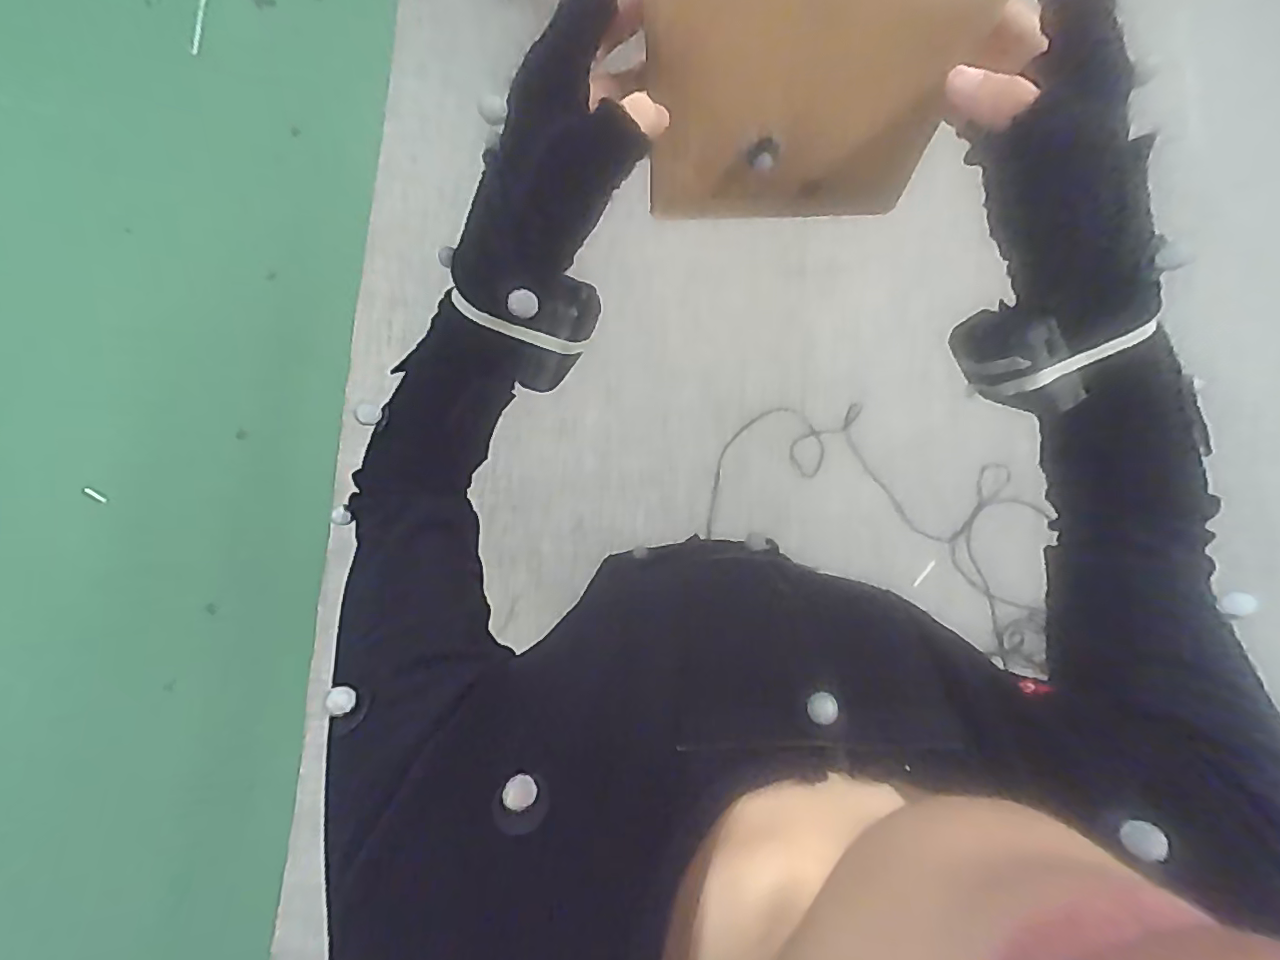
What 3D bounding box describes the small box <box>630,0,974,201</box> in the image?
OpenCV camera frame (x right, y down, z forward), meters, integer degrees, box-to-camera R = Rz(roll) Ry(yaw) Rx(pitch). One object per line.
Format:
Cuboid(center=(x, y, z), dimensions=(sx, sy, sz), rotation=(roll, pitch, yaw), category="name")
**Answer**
Cuboid(center=(0.079, -0.297, 0.316), dimensions=(0.168, 0.176, 0.179), rotation=(0, 76, 3), category="small box")
